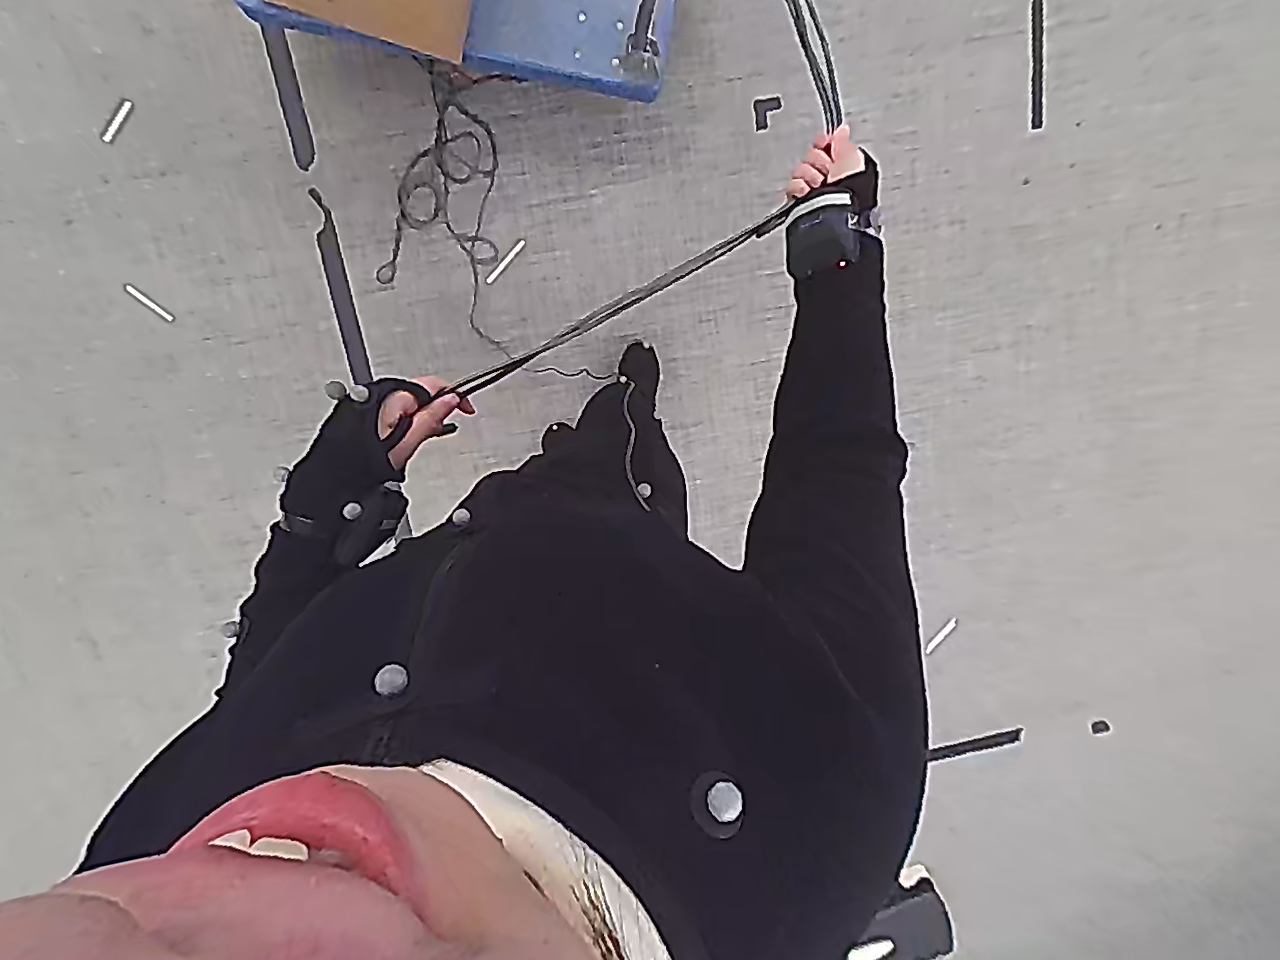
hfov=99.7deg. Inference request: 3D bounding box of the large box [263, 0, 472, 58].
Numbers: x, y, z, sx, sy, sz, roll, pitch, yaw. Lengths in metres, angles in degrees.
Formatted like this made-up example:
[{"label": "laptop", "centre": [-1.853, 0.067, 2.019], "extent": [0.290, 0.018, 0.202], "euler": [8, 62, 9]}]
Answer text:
[{"label": "large box", "centre": [-0.510, -1.011, 0.915], "extent": [0.408, 0.320, 0.320], "euler": [13, 101, -7]}]
